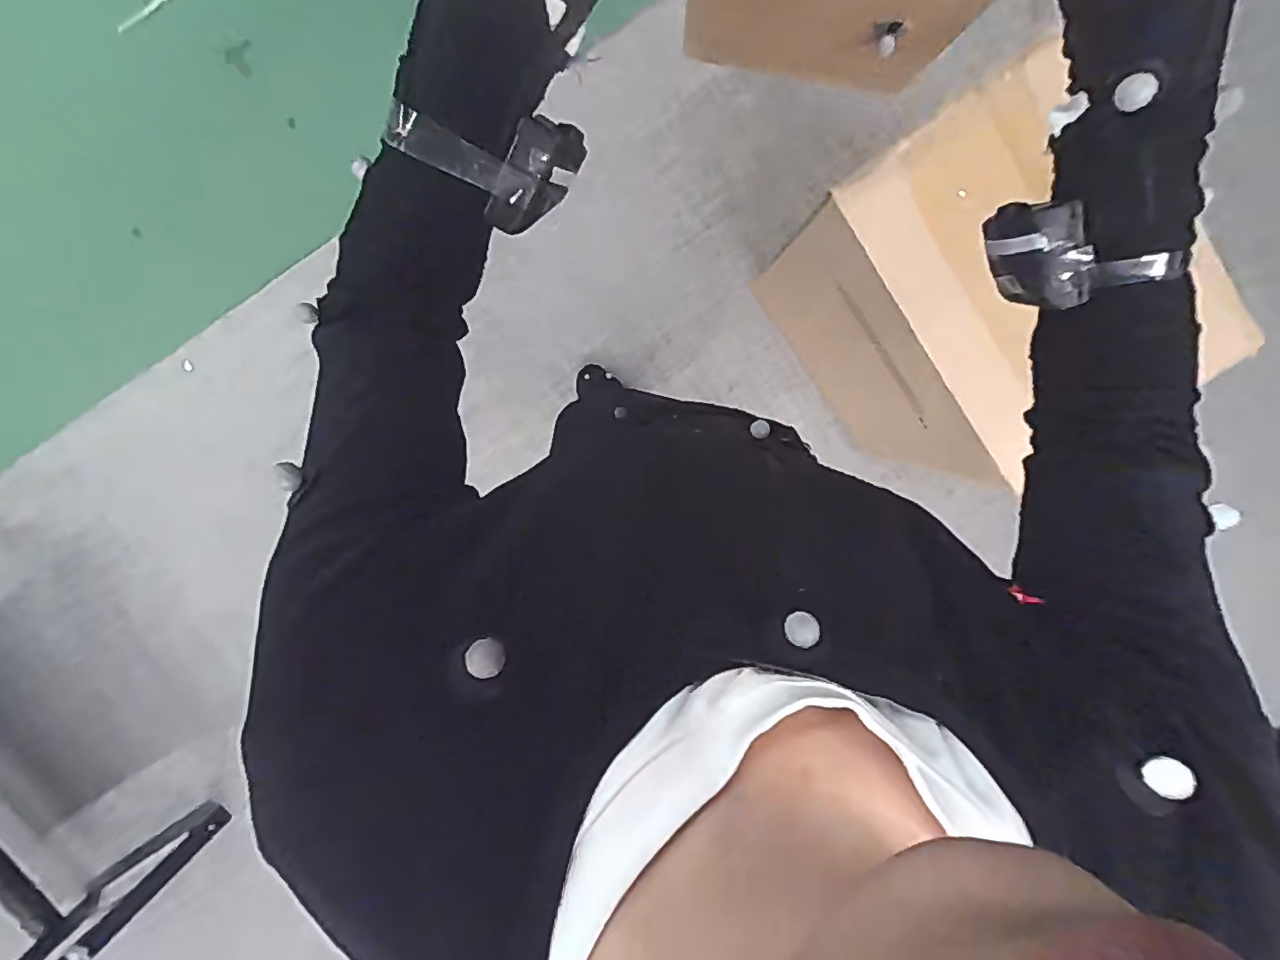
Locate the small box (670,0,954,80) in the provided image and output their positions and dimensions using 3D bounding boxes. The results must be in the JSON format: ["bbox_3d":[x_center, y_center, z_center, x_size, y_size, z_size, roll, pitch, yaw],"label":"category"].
[{"bbox_3d":[0.116,-0.378,0.328,0.179,0.176,0.168,8,104,1],"label":"small box"}]
